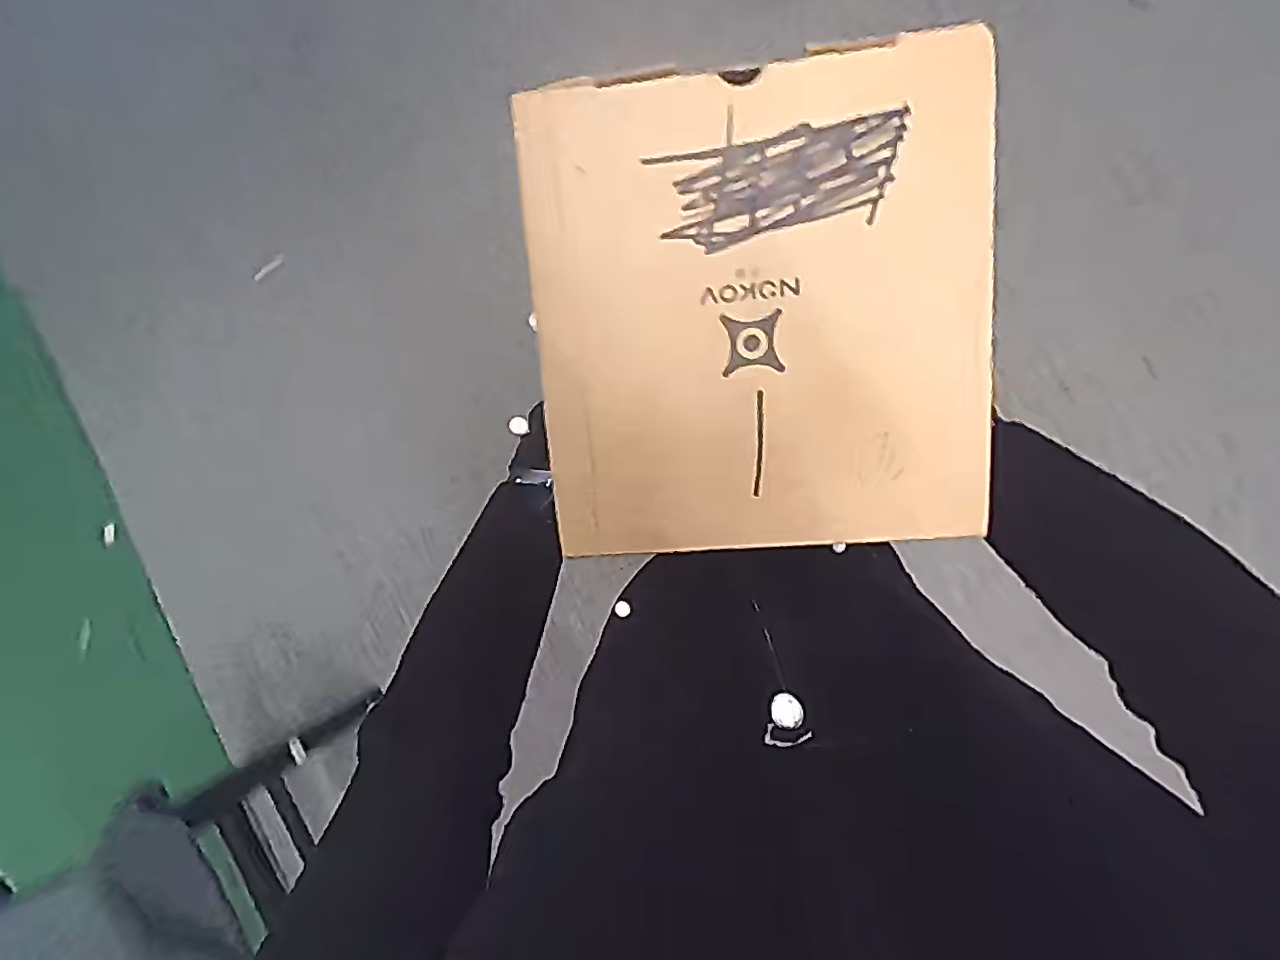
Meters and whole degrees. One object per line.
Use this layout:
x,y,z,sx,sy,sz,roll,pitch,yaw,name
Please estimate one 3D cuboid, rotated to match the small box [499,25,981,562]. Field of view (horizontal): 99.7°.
0.044,-0.070,0.275,0.168,0.176,0.179,-5,99,7,small box
